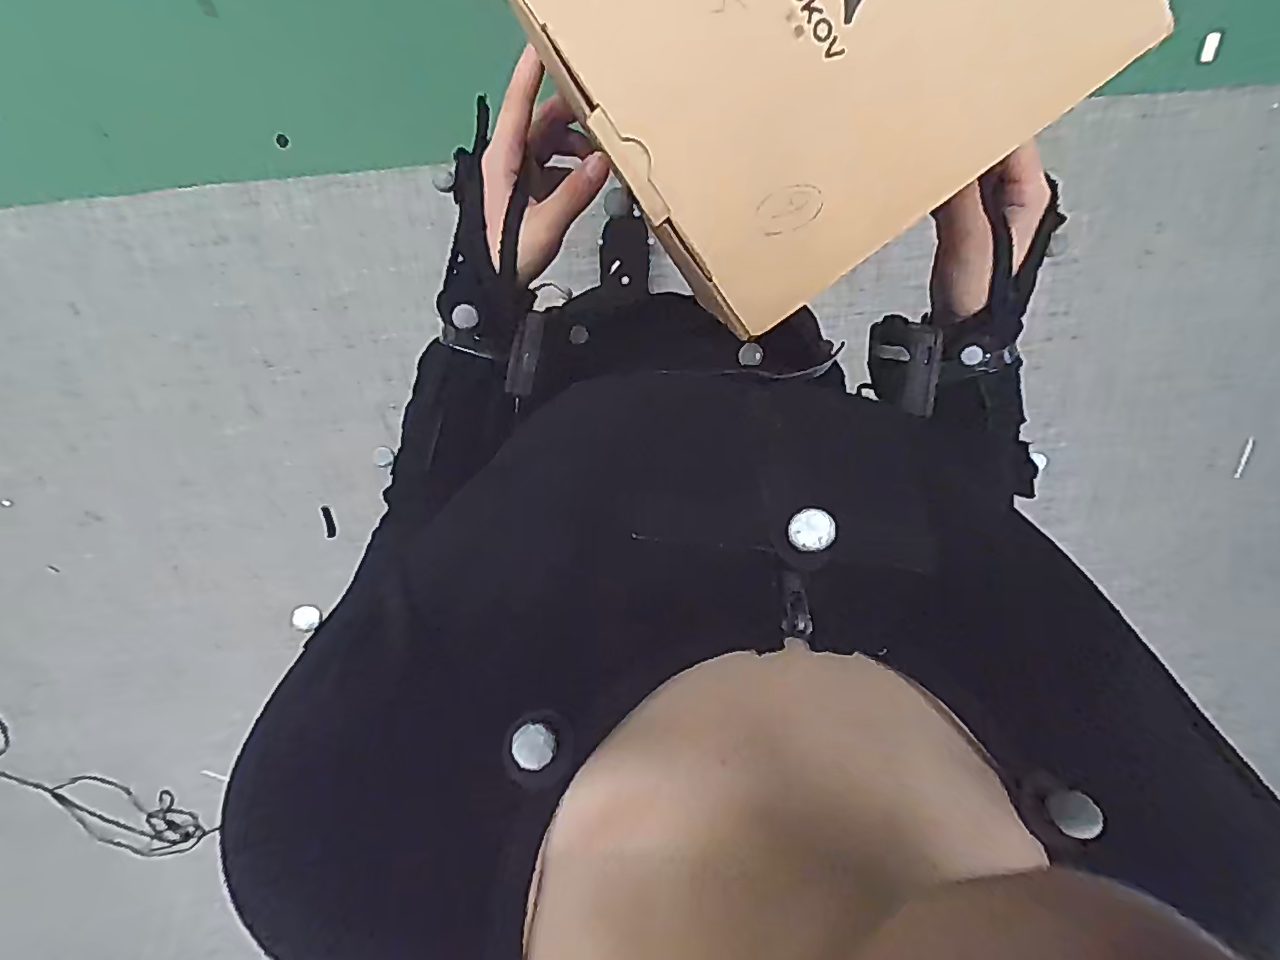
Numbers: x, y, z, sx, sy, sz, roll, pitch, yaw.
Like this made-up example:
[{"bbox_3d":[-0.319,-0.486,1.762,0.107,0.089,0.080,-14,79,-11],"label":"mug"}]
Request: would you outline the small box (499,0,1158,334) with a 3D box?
[{"bbox_3d":[0.064,-0.195,0.258,0.179,0.176,0.168,-35,107,14],"label":"small box"}]
